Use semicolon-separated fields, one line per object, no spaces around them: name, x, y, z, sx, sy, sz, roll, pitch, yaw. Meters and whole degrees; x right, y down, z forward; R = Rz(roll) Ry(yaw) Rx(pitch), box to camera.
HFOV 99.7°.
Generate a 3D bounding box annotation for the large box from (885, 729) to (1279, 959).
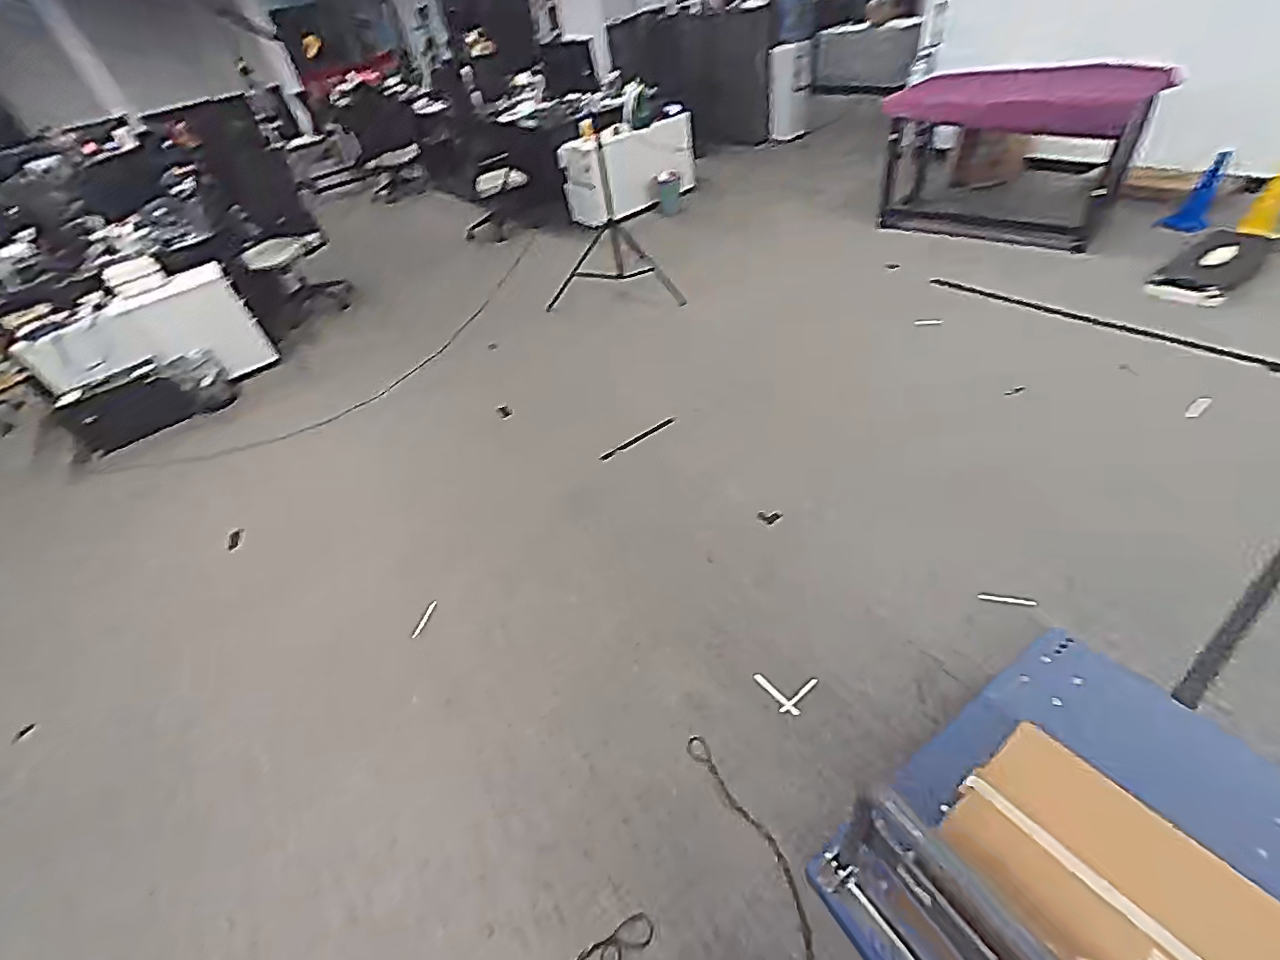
large box;0.679;0.704;0.861;0.320;0.320;0.408;-33;47;-22
